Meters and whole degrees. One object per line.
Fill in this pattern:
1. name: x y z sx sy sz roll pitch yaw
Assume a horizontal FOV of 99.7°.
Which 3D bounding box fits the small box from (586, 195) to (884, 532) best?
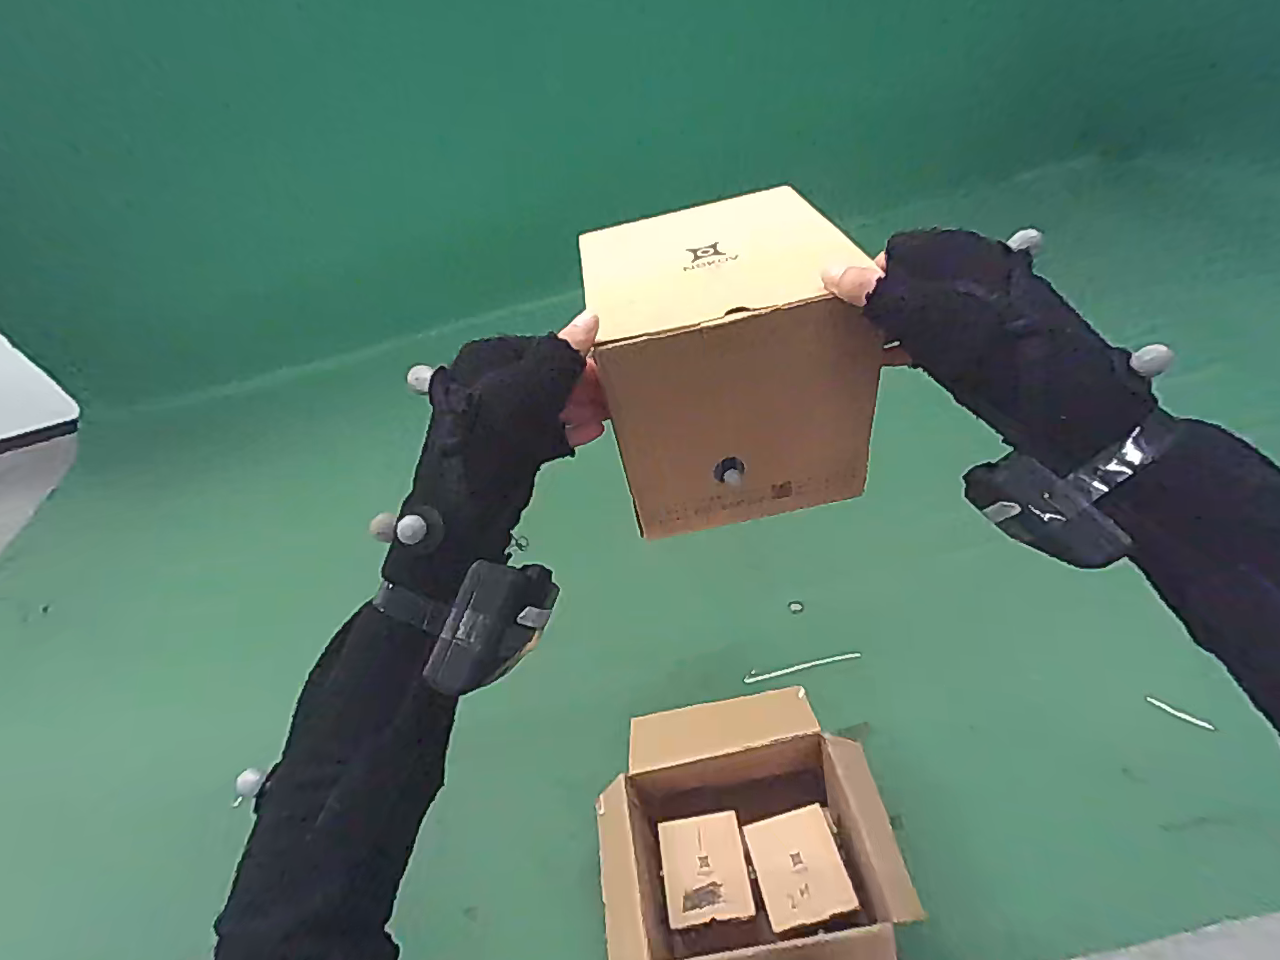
1. small box: 0.058 -0.088 0.411 0.168 0.176 0.179 -12 44 3
